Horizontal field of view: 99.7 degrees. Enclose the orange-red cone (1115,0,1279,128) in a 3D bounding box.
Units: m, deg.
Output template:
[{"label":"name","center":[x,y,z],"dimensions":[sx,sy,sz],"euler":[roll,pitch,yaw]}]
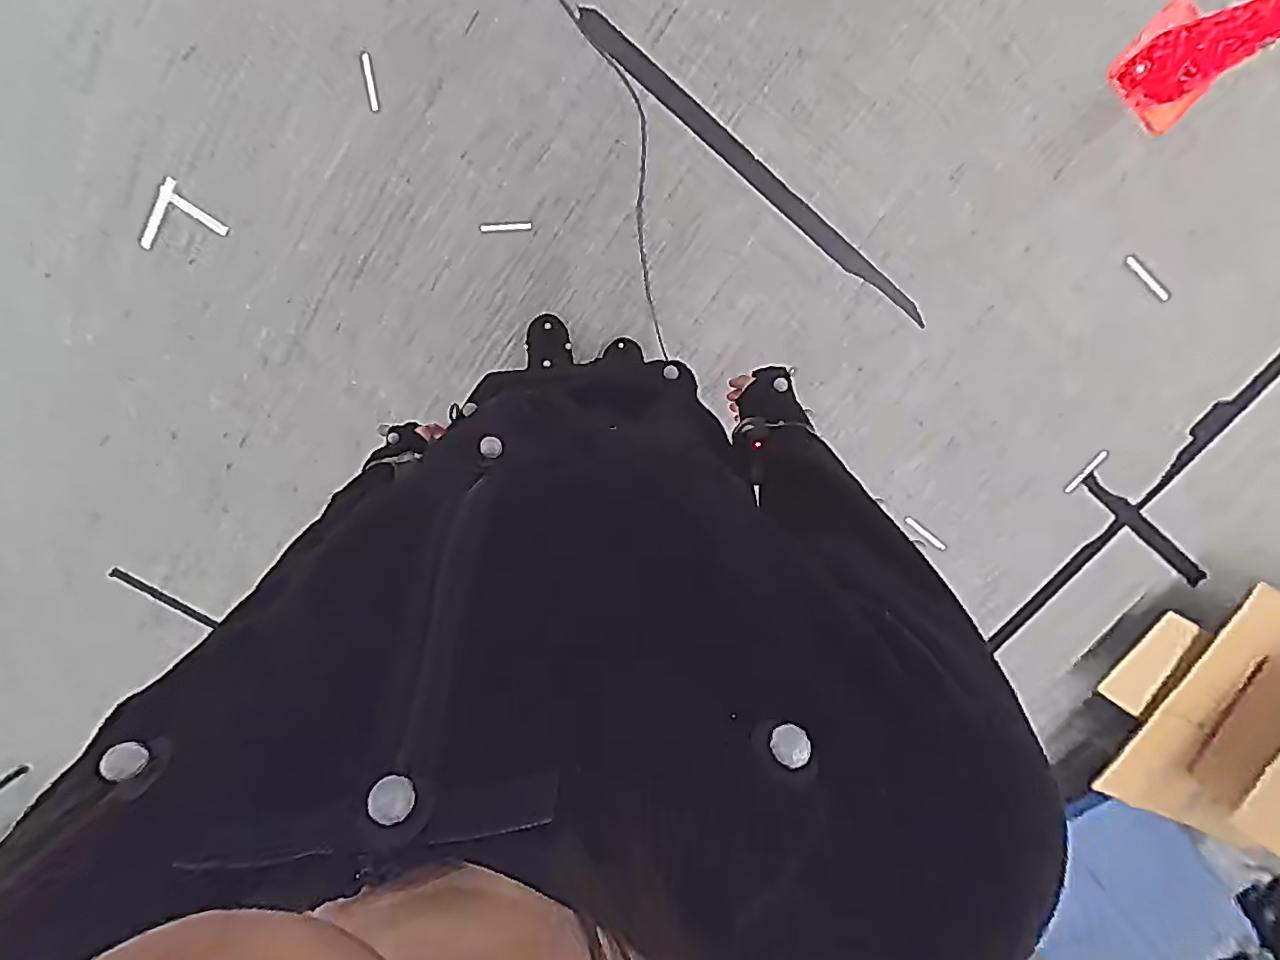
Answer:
[{"label":"orange-red cone","center":[1.162,-0.858,1.010],"dimensions":[0.199,0.360,0.198],"euler":[39,103,-12]}]
